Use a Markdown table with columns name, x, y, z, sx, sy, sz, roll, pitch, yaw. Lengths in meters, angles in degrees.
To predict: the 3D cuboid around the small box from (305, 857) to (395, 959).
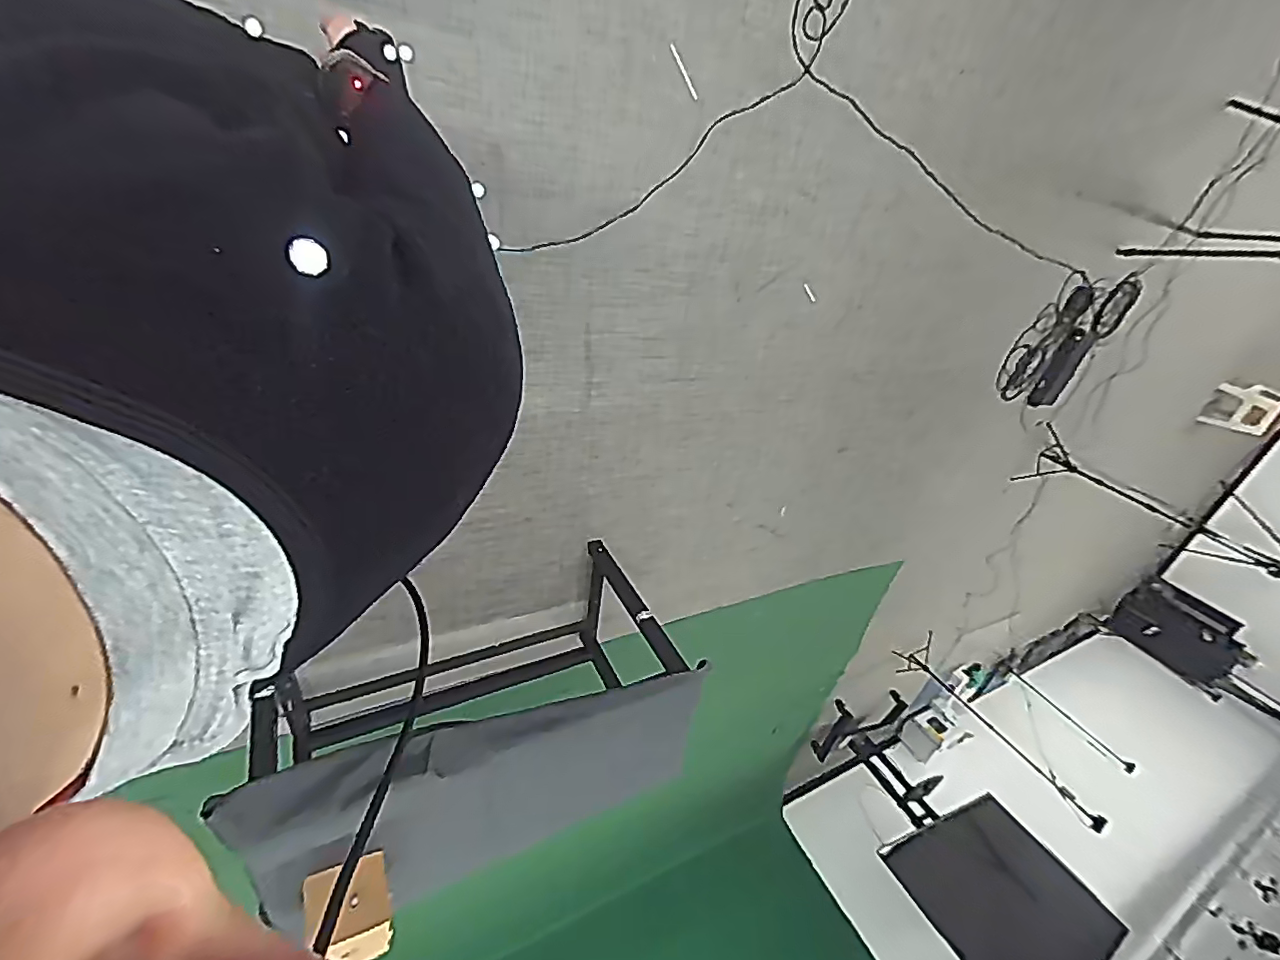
| name | x | y | z | sx | sy | sz | roll | pitch | yaw |
| --- | --- | --- | --- | --- | --- | --- | --- | --- | --- |
| small box | -0.708 | 1.071 | 1.318 | 0.179 | 0.176 | 0.168 | -4 | 122 | -32 |
